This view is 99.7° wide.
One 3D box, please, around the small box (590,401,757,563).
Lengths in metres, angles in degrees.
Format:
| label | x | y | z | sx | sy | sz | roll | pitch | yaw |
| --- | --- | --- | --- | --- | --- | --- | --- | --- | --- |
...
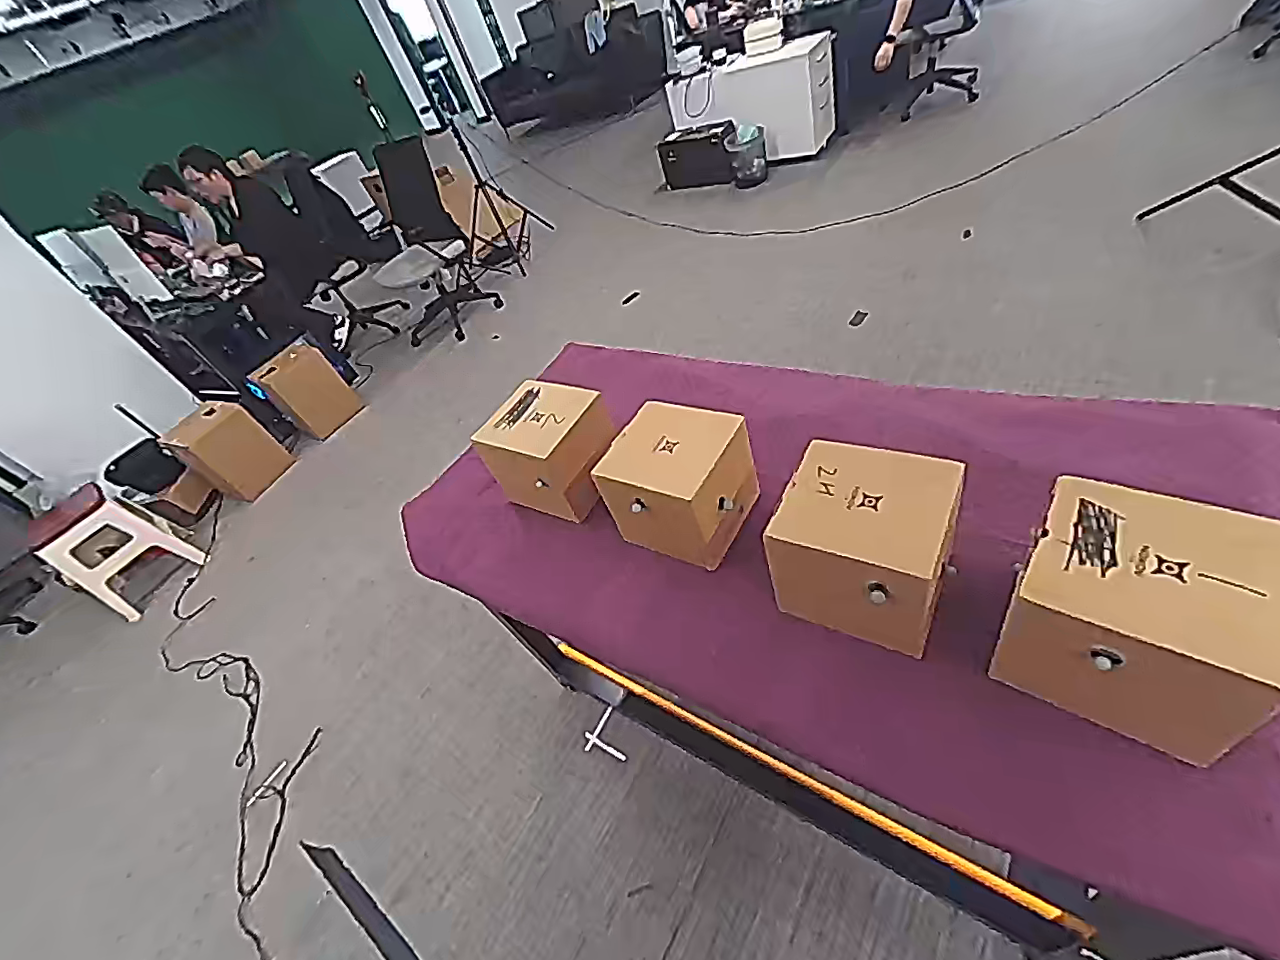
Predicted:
| label | x | y | z | sx | sy | sz | roll | pitch | yaw |
| --- | --- | --- | --- | --- | --- | --- | --- | --- | --- |
| small box | 0.062 | 0.004 | 0.826 | 0.179 | 0.176 | 0.168 | 14 | 55 | 34 |

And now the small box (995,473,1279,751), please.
| label | x | y | z | sx | sy | sz | roll | pitch | yaw |
| --- | --- | --- | --- | --- | --- | --- | --- | --- | --- |
| small box | 0.470 | 0.125 | 0.521 | 0.179 | 0.176 | 0.168 | 20 | 58 | 37 |

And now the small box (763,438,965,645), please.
| label | x | y | z | sx | sy | sz | roll | pitch | yaw |
| --- | --- | --- | --- | --- | --- | --- | --- | --- | --- |
| small box | 0.272 | 0.075 | 0.658 | 0.179 | 0.176 | 0.168 | 13 | 53 | 34 |
